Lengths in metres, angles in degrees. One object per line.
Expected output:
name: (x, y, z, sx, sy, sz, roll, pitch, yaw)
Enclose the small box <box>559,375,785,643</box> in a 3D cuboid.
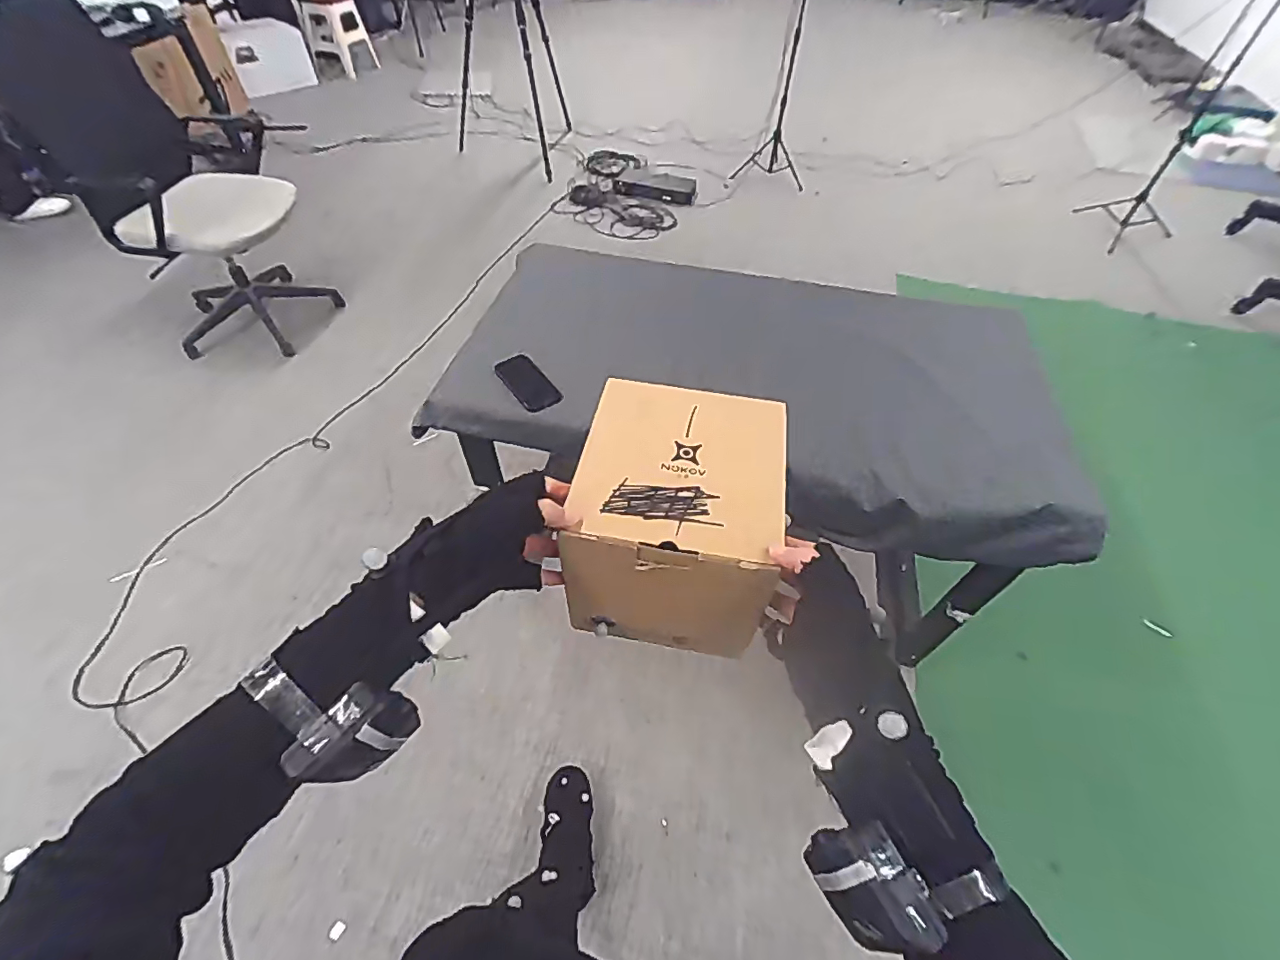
small box: (0.033, 0.031, 0.505, 0.168, 0.176, 0.179, 10, 50, 5)
